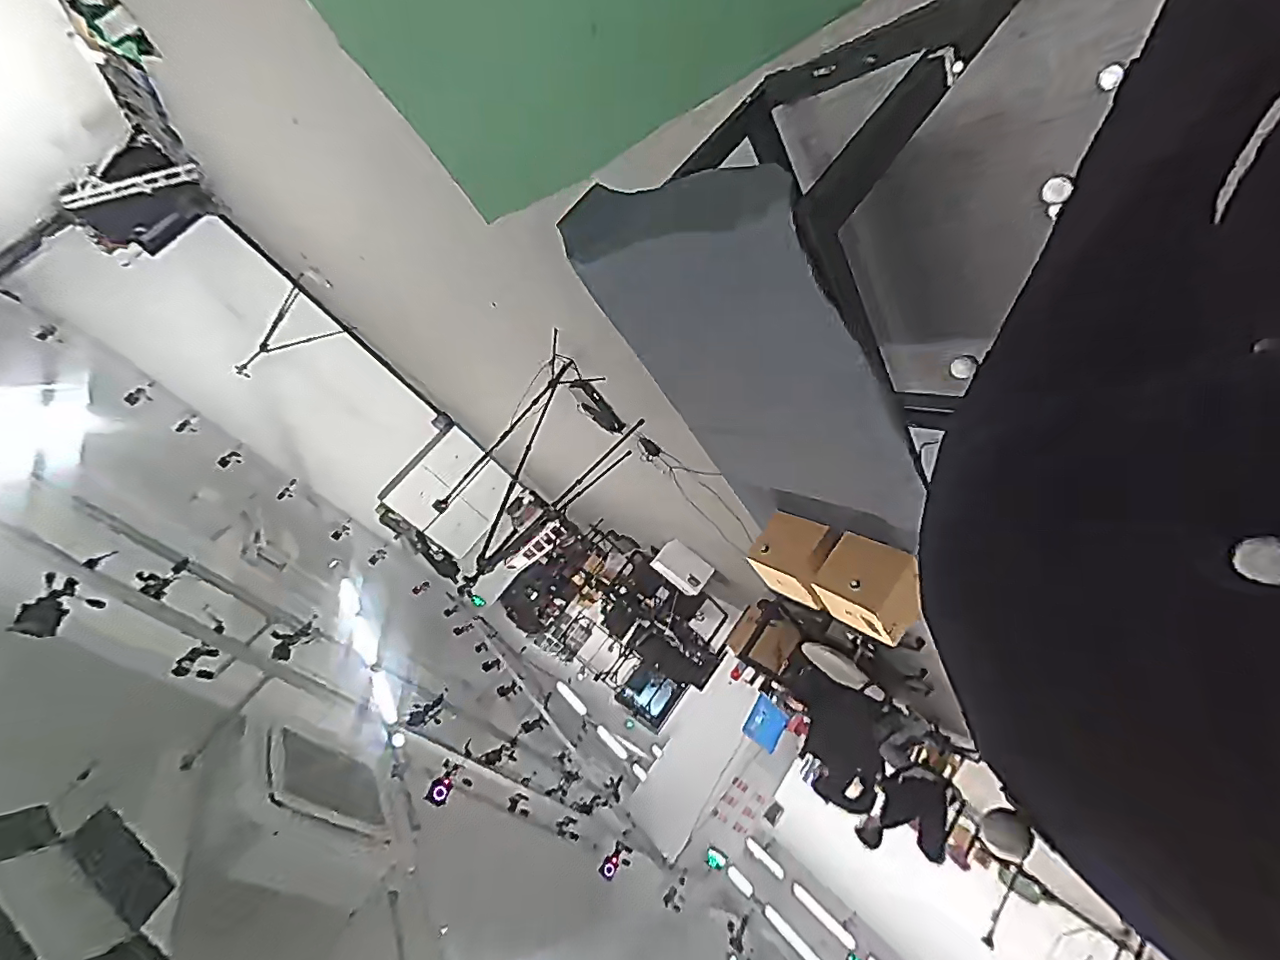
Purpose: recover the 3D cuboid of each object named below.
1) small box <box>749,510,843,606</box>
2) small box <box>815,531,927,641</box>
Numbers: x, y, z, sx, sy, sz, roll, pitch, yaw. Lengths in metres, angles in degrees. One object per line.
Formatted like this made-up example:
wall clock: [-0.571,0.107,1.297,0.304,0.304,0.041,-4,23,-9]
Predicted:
small box: [0.435,0.204,1.465,0.179,0.176,0.168,19,156,52]
small box: [0.559,0.246,1.292,0.179,0.176,0.168,22,158,52]
